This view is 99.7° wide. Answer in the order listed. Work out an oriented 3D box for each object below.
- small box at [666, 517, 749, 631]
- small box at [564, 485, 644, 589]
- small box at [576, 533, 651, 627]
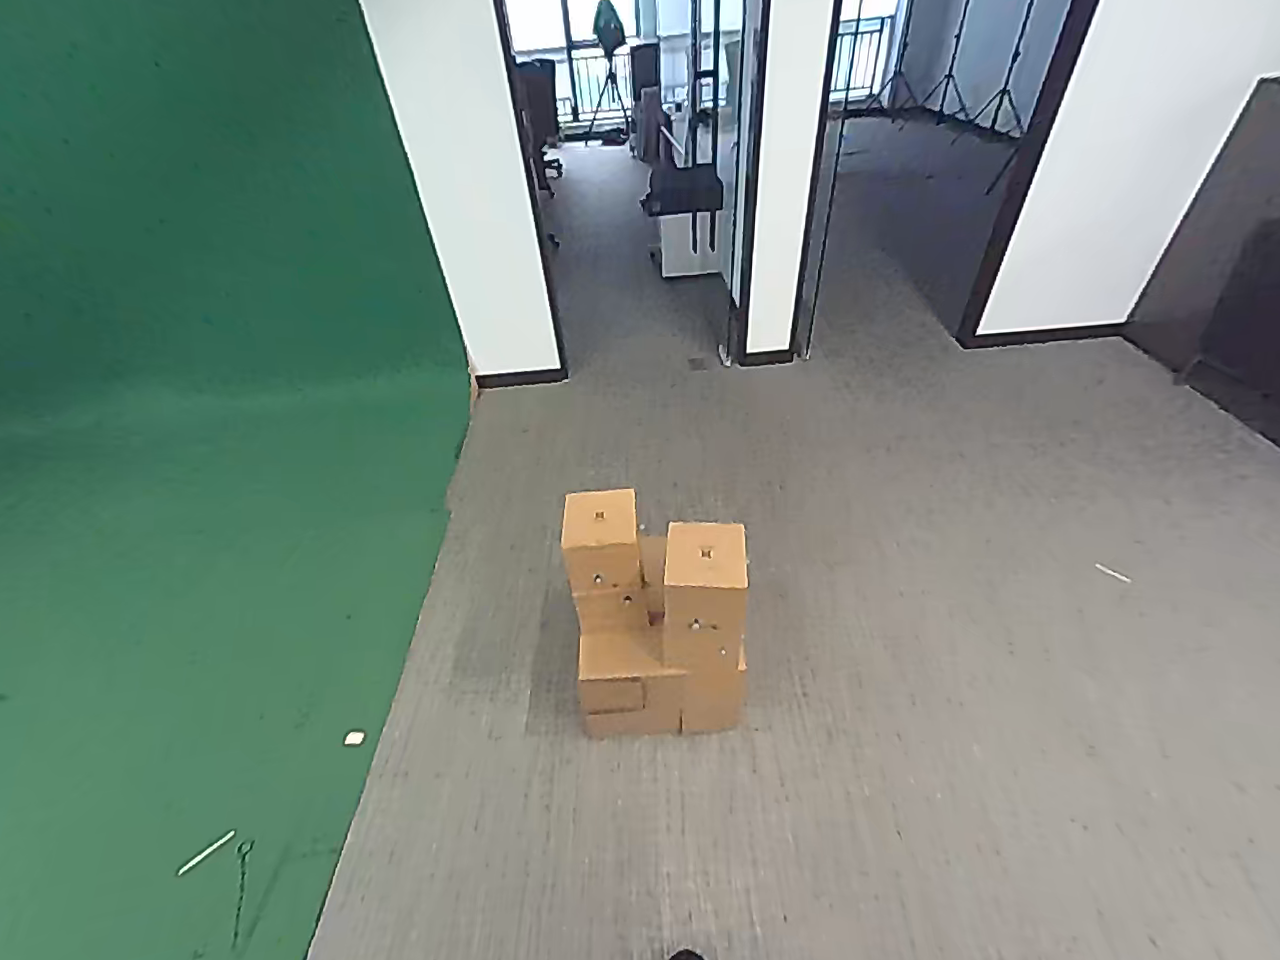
[{"bbox_3d":[0.145,0.201,1.171,0.168,0.176,0.179,1,42,7],"label":"small box"},{"bbox_3d":[-0.079,0.134,1.276,0.168,0.176,0.179,-4,41,2],"label":"small box"},{"bbox_3d":[-0.064,0.257,1.383,0.179,0.176,0.168,-6,40,1],"label":"small box"}]
